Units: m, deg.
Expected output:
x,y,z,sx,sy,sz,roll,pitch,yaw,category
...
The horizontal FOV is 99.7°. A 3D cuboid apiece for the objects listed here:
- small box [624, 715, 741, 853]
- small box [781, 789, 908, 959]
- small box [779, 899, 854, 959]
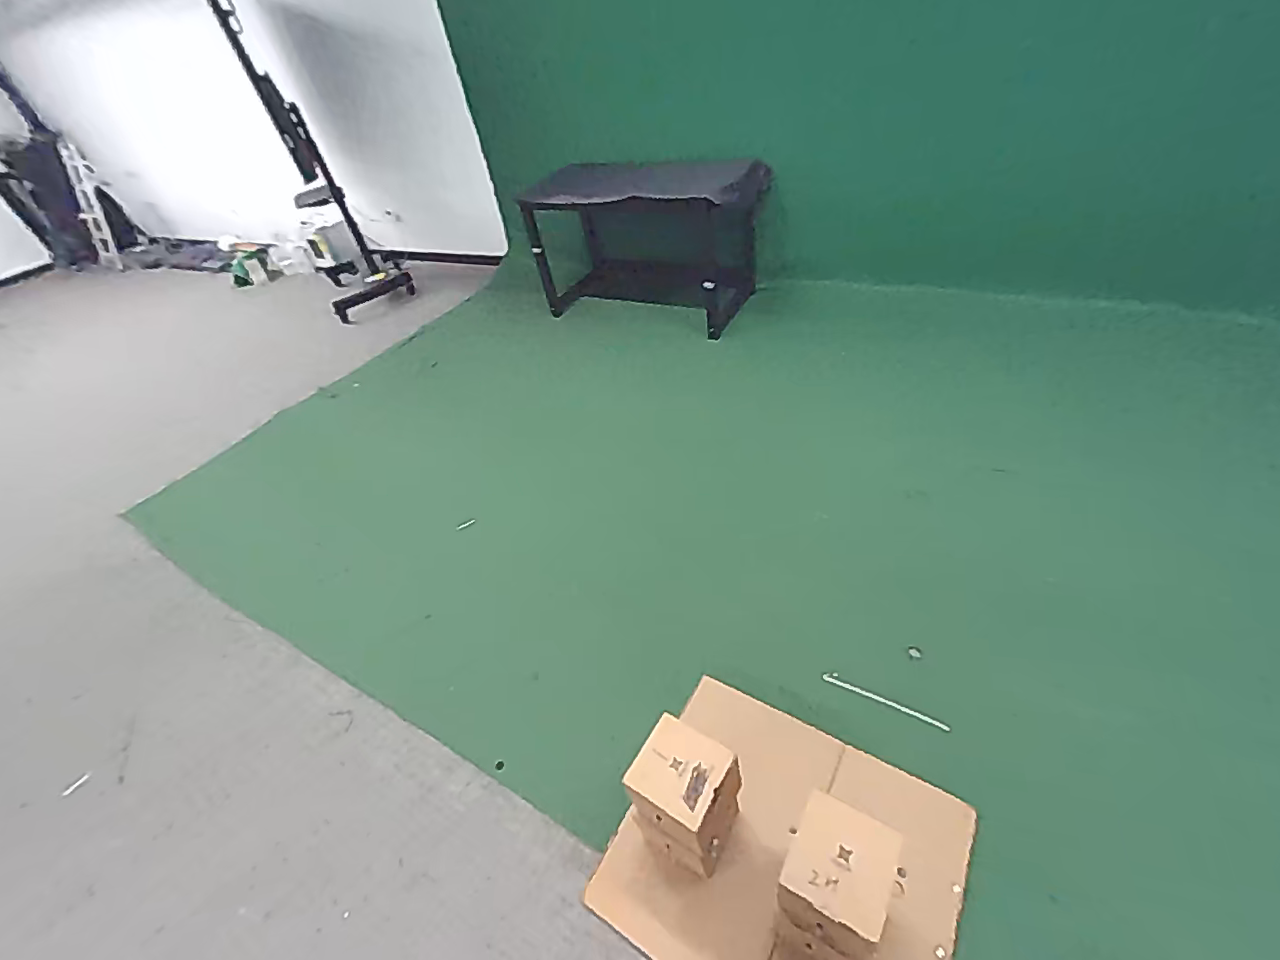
x,y,z,sx,sy,sz,roll,pitch,yaw,category
0.096,0.634,1.120,0.179,0.176,0.168,18,49,33,small box
0.361,0.710,0.973,0.168,0.176,0.179,17,49,30,small box
0.381,0.840,1.075,0.168,0.176,0.179,16,49,28,small box
